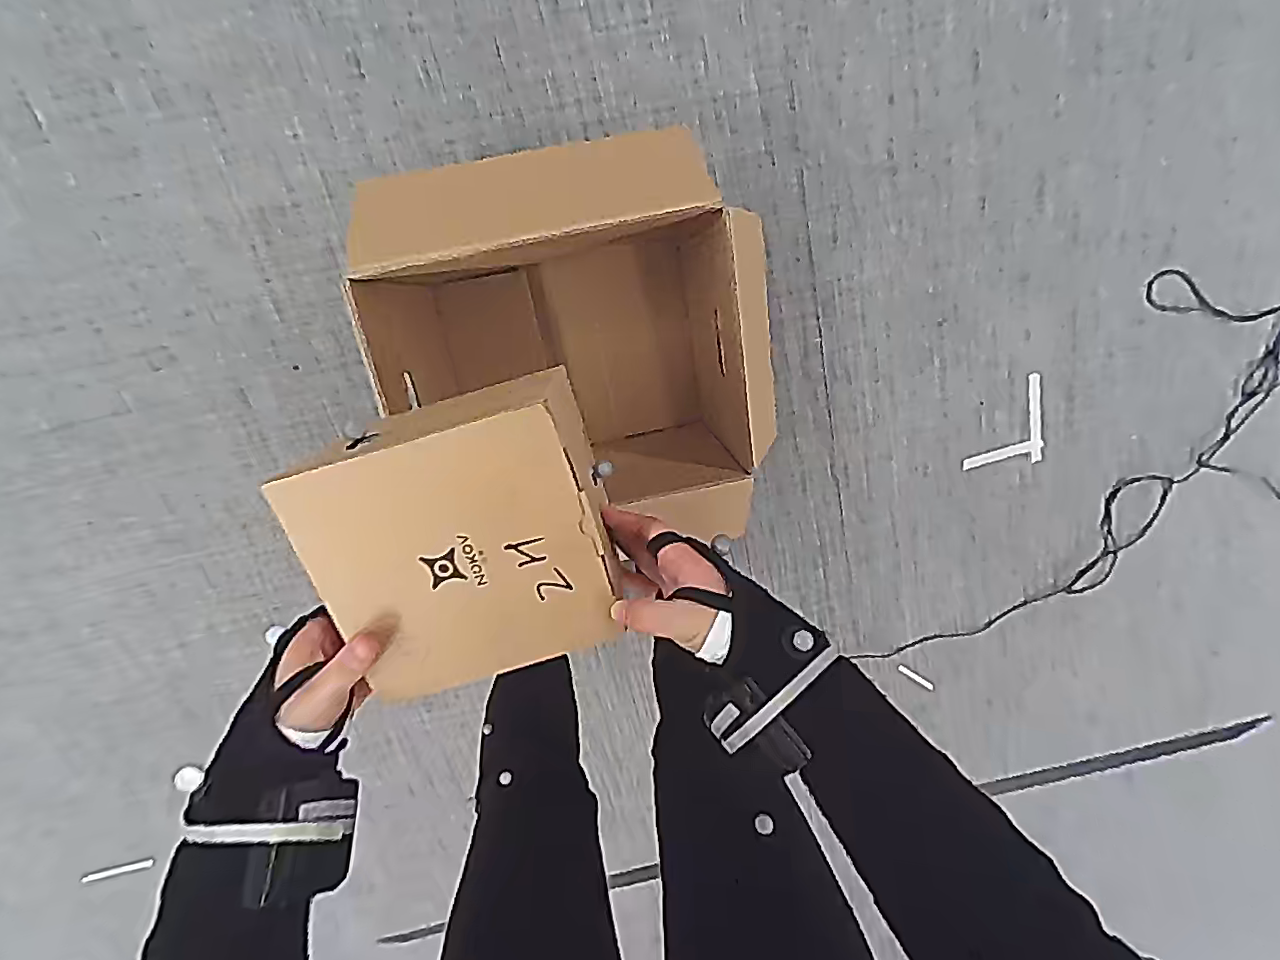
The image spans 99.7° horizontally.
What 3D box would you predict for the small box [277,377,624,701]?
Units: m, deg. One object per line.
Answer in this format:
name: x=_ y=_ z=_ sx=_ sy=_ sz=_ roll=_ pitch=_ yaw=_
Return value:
small box: x=-0.119 y=0.029 z=0.418 sx=0.179 sy=0.176 sz=0.168 roll=-16 pitch=110 yaw=-1
